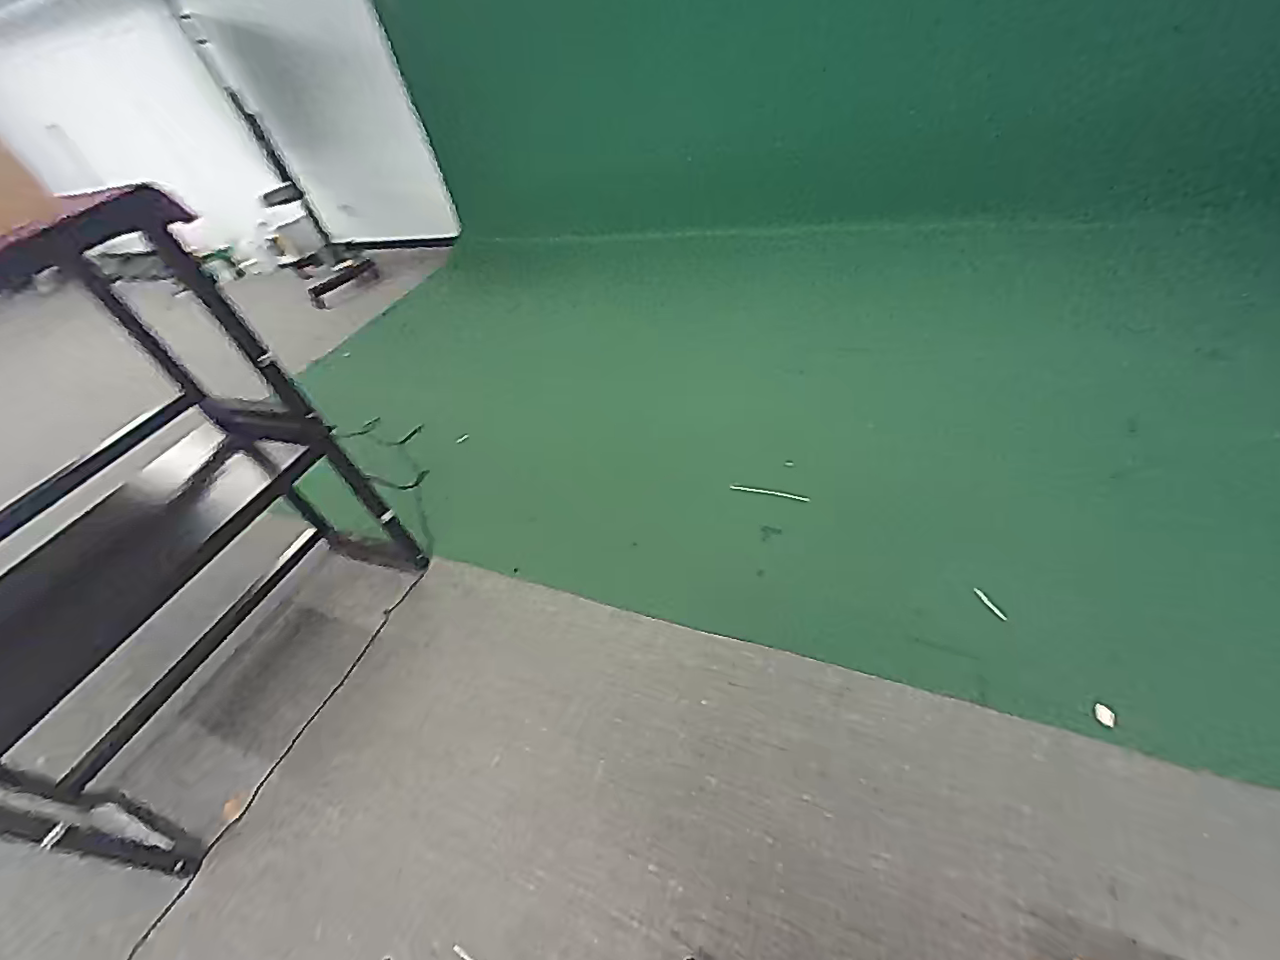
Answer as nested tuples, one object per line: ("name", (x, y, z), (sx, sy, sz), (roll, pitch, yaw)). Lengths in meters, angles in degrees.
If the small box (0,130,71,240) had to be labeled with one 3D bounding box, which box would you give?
("small box", (-1.376, -0.607, 1.125), (0.168, 0.176, 0.179), (9, 49, 24))
